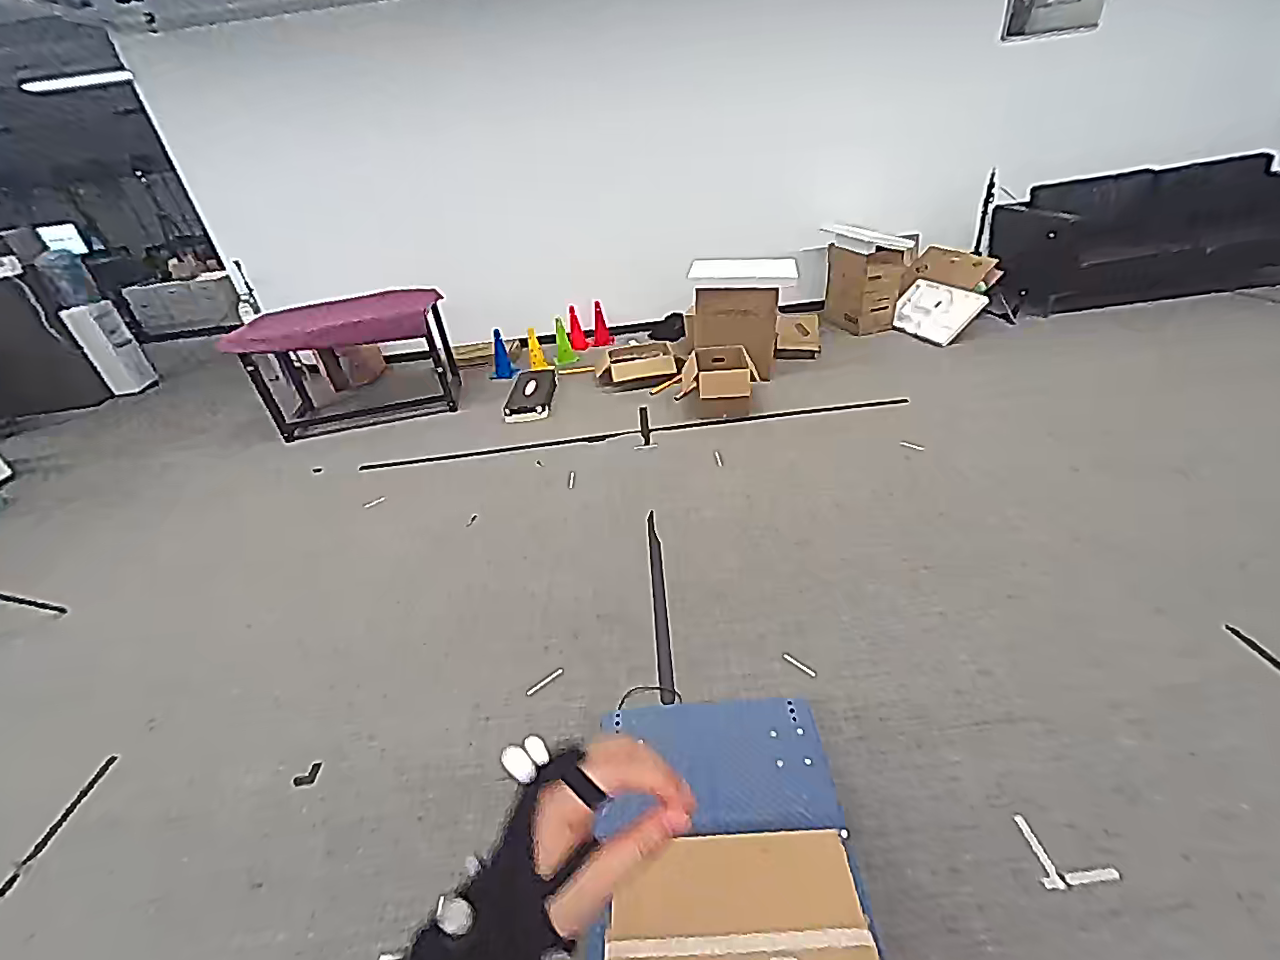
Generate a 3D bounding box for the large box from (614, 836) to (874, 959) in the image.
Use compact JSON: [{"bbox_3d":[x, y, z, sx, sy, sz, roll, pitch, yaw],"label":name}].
[{"bbox_3d":[0.168,0.857,0.917,0.408,0.320,0.320,-5,33,2],"label":"large box"}]
